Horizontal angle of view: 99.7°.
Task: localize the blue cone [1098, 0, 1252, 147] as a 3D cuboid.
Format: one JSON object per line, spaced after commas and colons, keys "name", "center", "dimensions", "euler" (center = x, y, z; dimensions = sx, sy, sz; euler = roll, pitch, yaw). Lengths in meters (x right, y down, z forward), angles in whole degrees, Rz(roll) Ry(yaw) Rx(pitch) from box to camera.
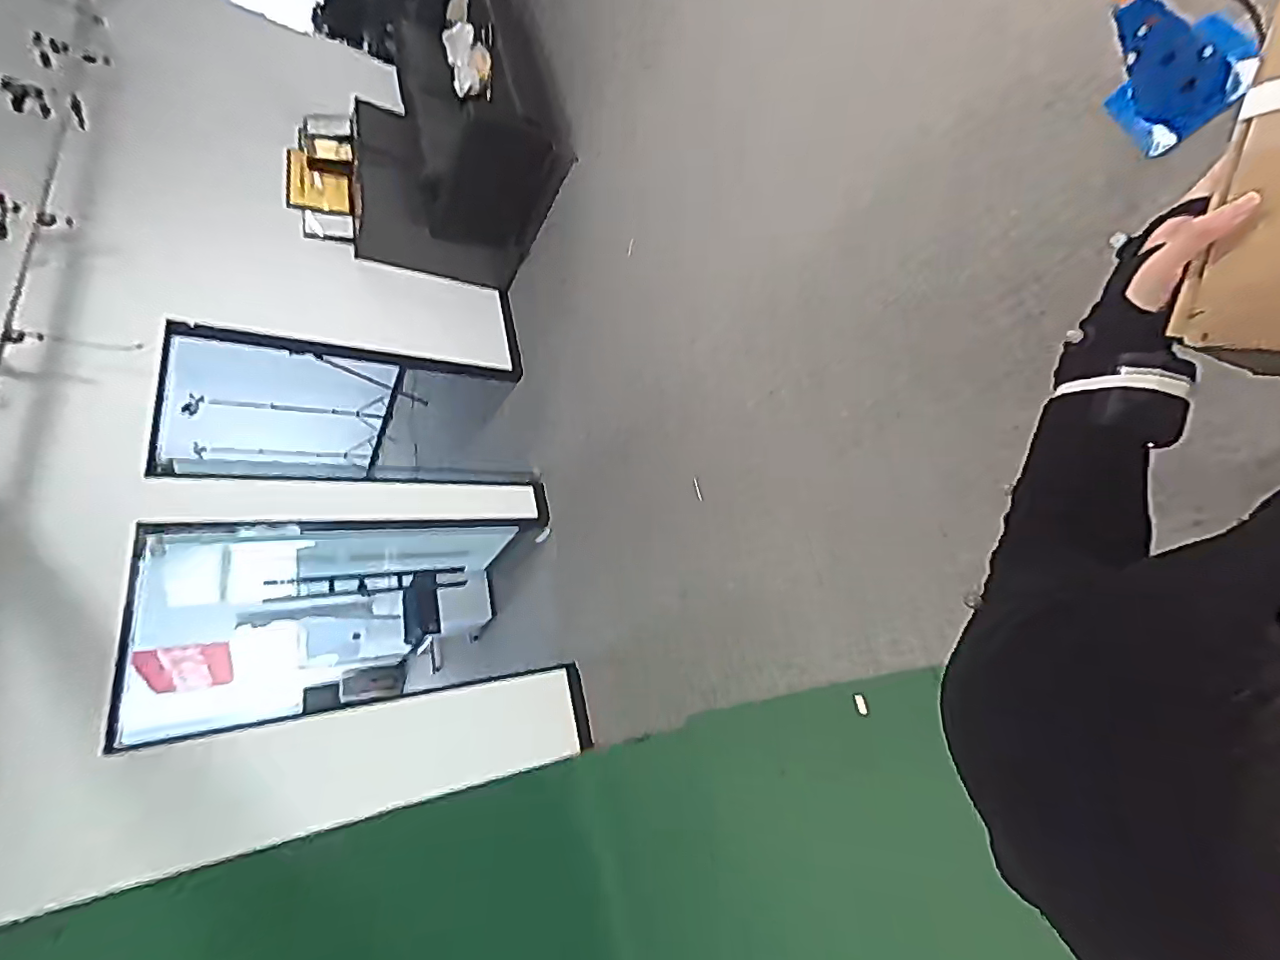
{"name": "blue cone", "center": [0.968, -0.822, 1.032], "dimensions": [0.193, 0.380, 0.192], "euler": [-45, 53, 46]}
